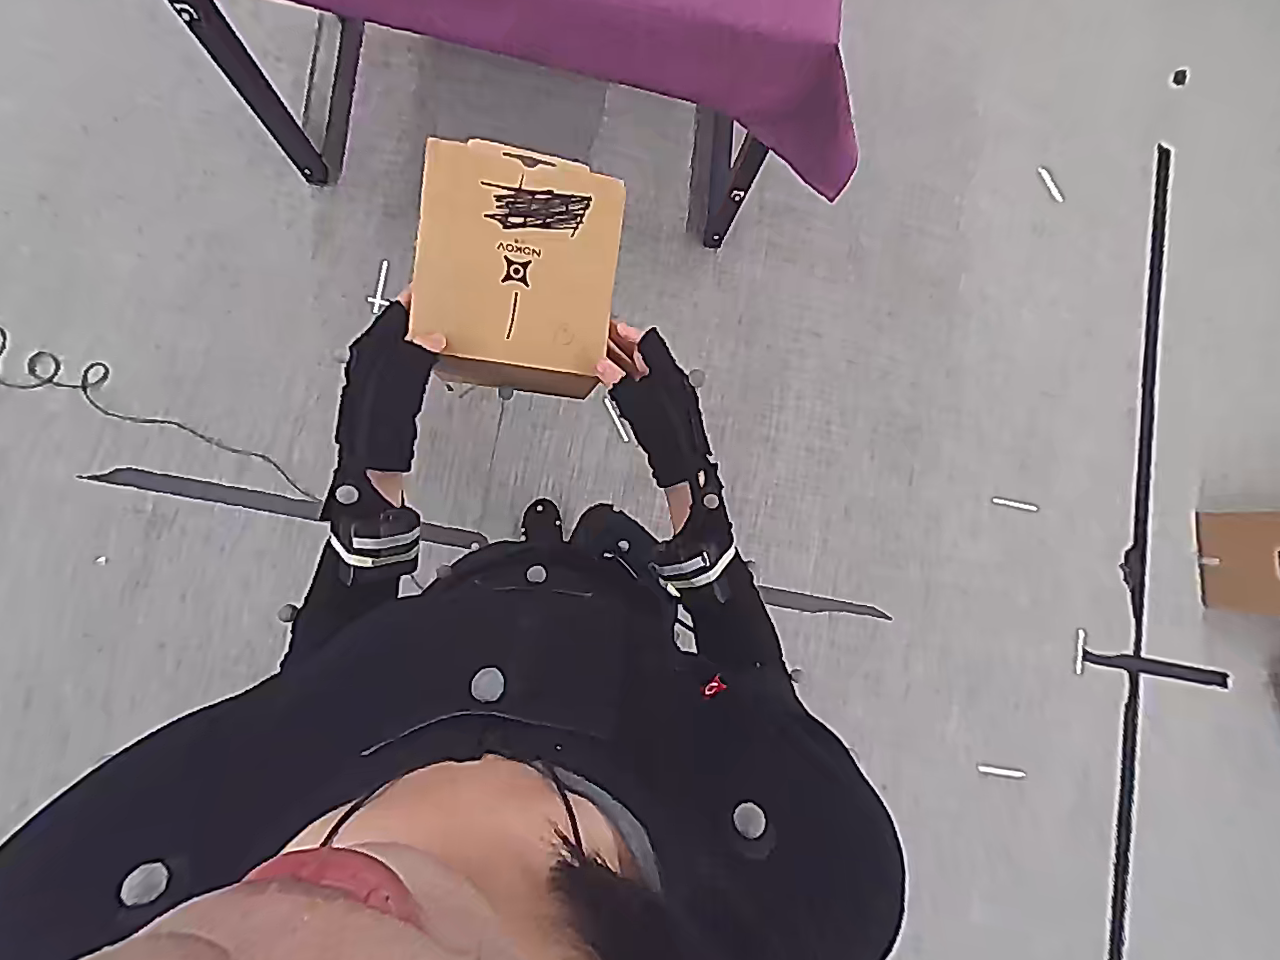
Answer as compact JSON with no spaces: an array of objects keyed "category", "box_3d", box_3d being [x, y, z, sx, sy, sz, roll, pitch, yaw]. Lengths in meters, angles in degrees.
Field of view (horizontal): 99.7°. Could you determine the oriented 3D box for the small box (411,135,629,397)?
[{"category":"small box","box_3d":[-0.114,-0.189,0.534,0.168,0.176,0.179,6,90,-11]}]
